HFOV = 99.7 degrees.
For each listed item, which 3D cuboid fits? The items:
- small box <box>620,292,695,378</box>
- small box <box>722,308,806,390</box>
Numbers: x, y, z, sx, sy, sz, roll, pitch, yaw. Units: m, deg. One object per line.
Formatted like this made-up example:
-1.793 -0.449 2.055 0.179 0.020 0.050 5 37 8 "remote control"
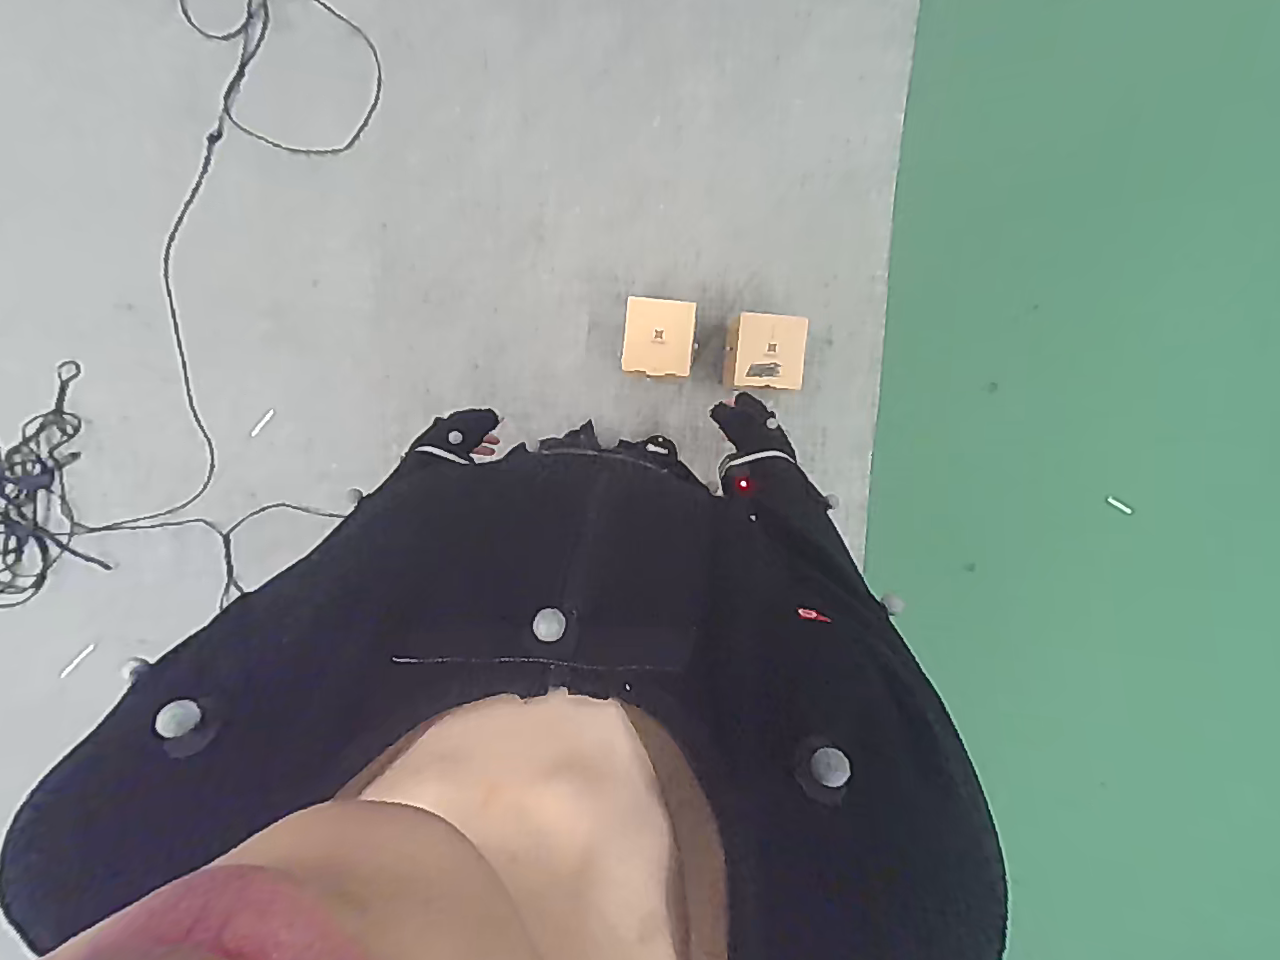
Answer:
0.039 -0.357 1.359 0.168 0.176 0.179 5 97 -1 "small box"
0.305 -0.323 1.366 0.168 0.176 0.179 5 96 -1 "small box"
